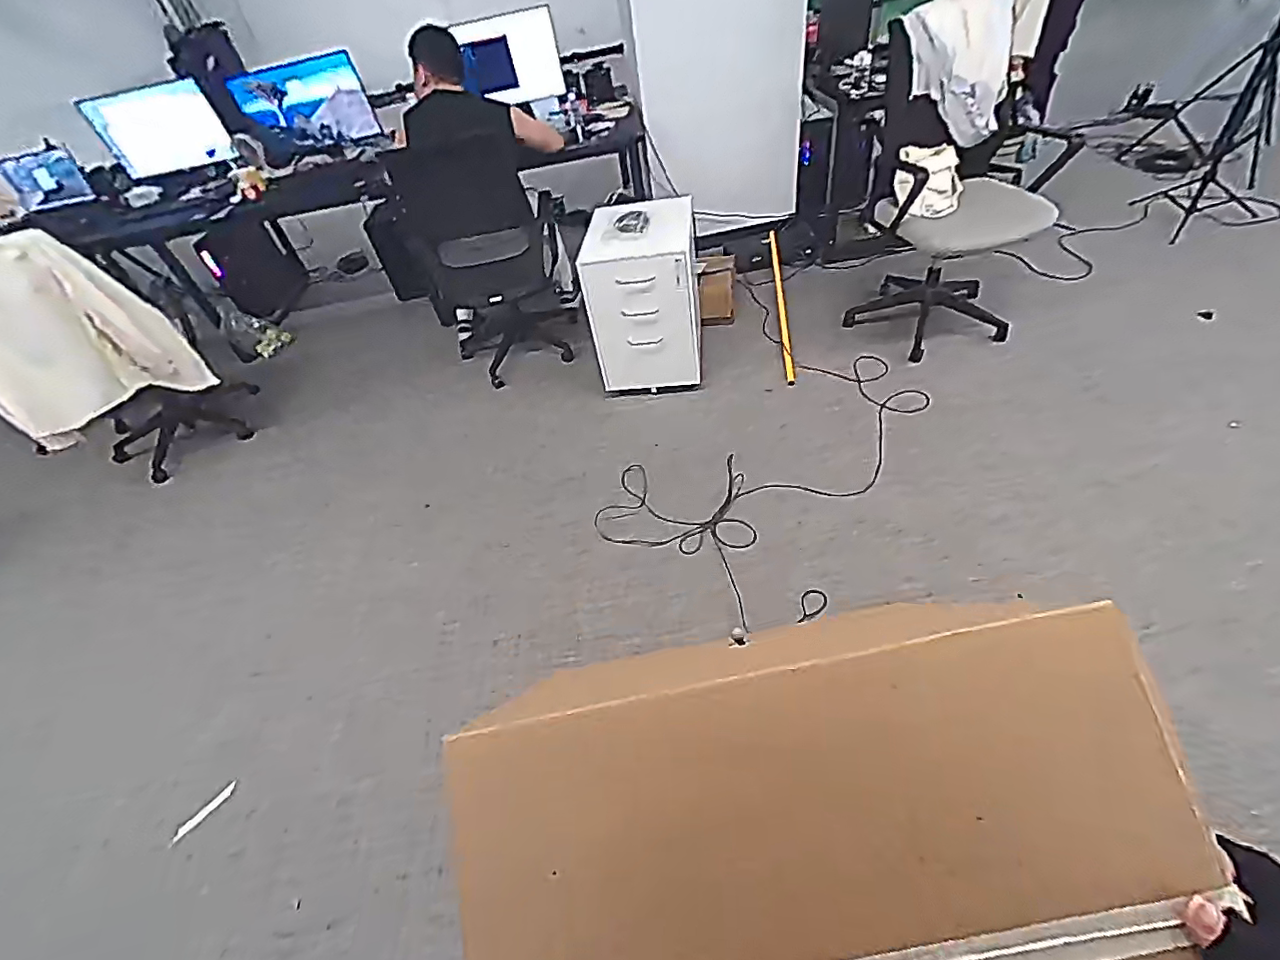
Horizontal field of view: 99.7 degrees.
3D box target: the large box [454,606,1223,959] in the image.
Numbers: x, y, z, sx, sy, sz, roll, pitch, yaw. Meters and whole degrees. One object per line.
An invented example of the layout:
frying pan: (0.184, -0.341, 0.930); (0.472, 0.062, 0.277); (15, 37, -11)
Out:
large box: (0.121, 0.301, 0.440); (0.408, 0.320, 0.320); (-13, 77, 2)
